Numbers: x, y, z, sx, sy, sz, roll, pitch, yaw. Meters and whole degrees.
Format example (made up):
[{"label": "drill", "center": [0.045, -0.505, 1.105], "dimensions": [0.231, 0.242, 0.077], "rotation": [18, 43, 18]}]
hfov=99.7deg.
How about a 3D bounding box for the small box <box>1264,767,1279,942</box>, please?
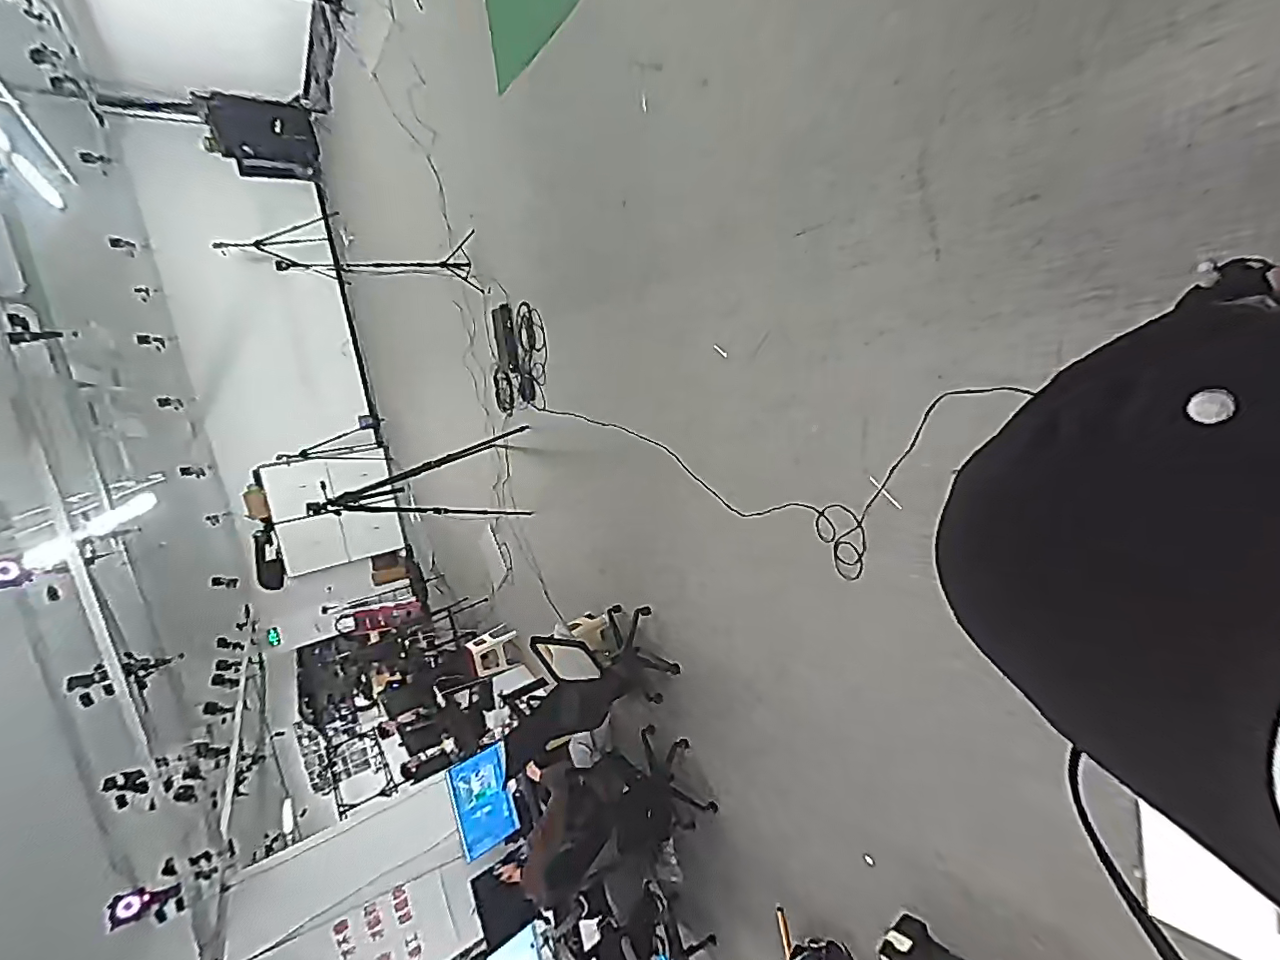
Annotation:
[{"label": "small box", "center": [0.846, 0.446, 0.611], "dimensions": [0.168, 0.176, 0.179], "rotation": [1, 105, 56]}]
